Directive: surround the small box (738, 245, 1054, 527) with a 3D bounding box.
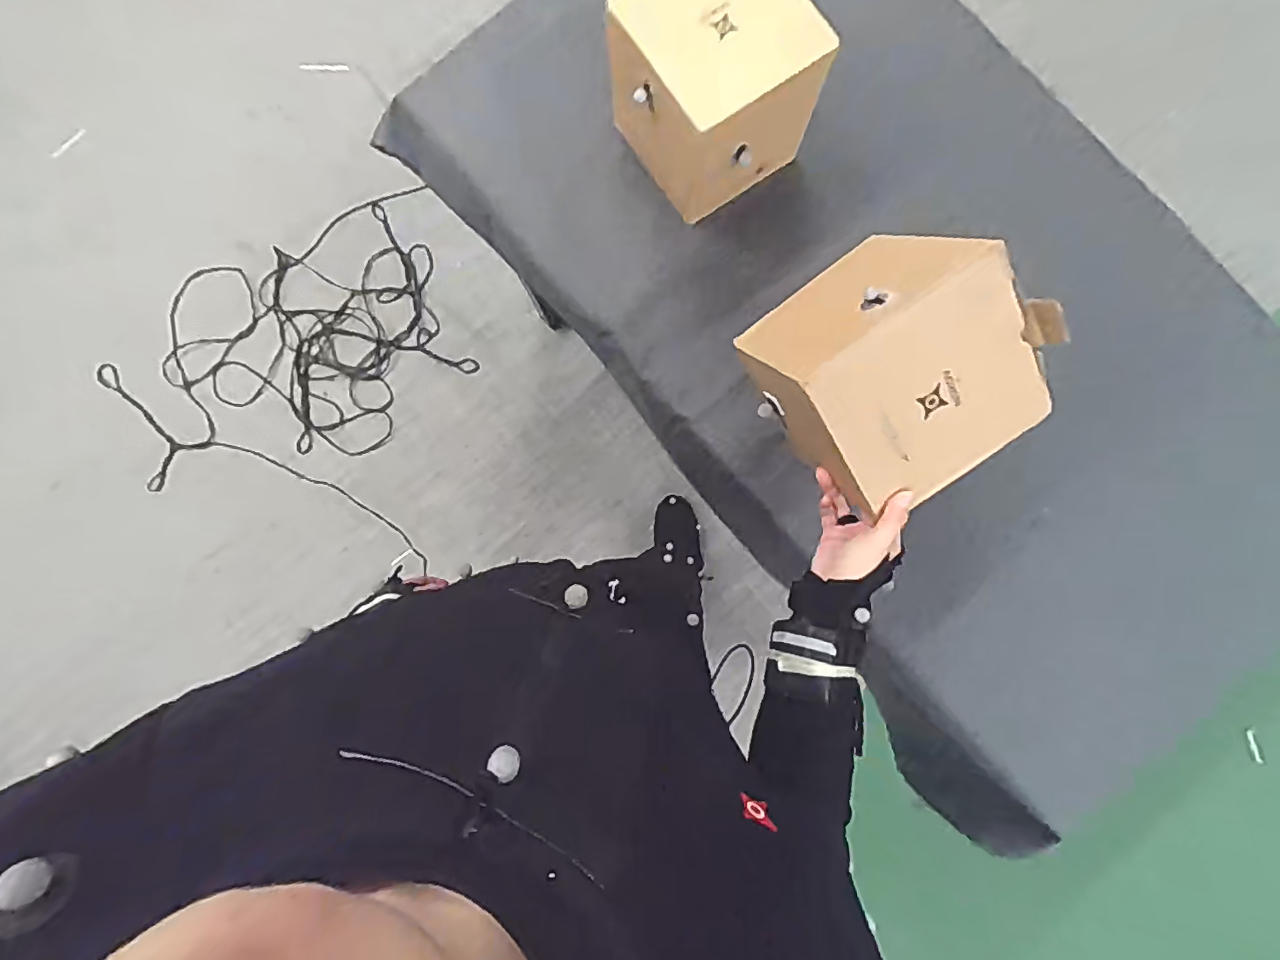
[{"bbox_3d":[0.222,-0.097,0.501,0.179,0.176,0.168,-36,117,7],"label":"small box"}]

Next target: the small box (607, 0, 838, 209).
[{"bbox_3d":[0.083,-0.443,0.610,0.168,0.176,0.179,-34,85,-2],"label":"small box"}]
